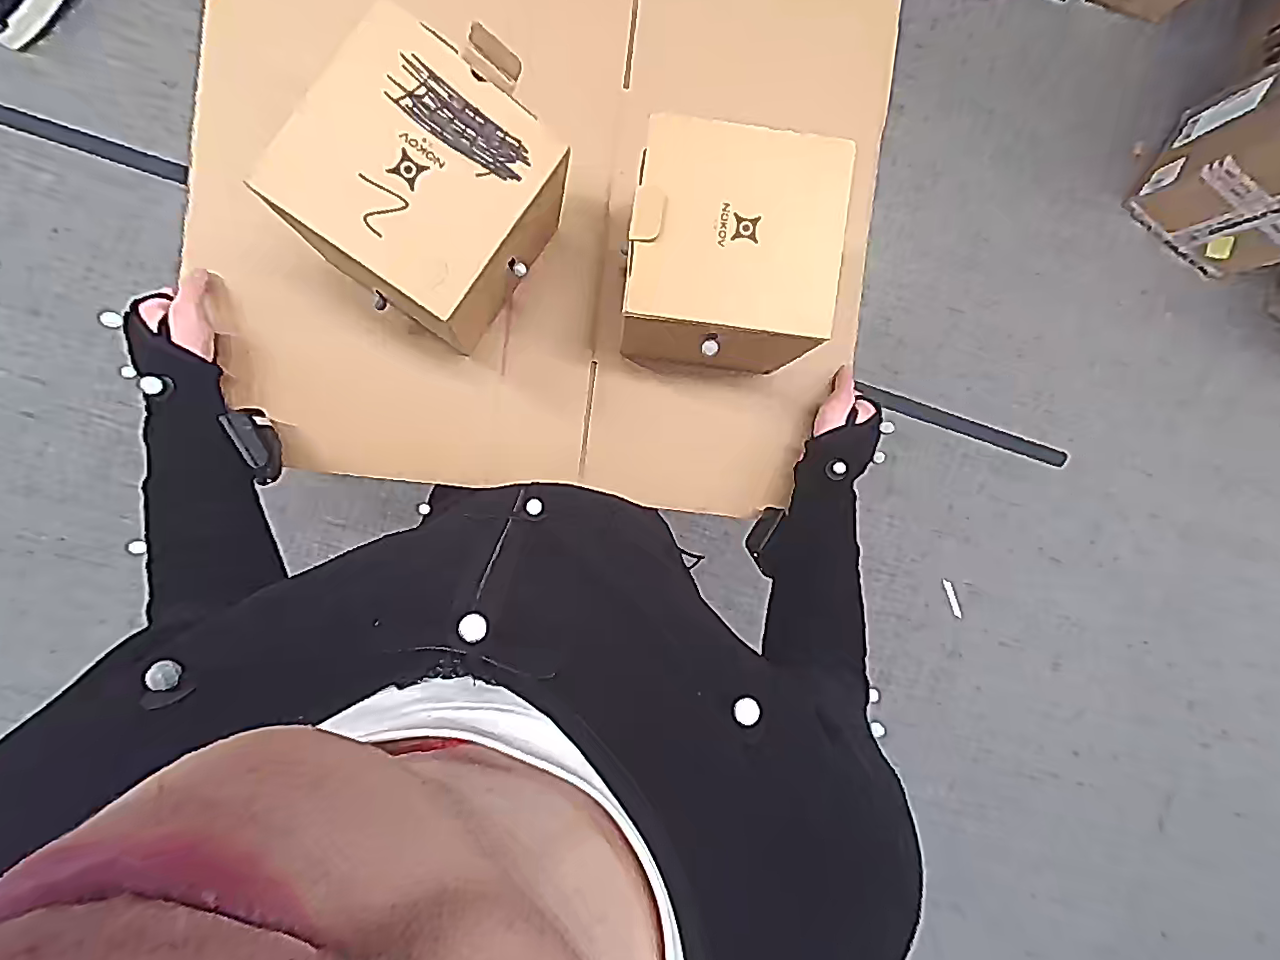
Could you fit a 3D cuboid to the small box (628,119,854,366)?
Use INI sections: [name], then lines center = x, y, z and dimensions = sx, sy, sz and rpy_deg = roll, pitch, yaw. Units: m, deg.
[small box]
center = 0.085, -0.215, 0.539
dimensions = 0.179, 0.176, 0.168
rpy_deg = 7, 92, -2
